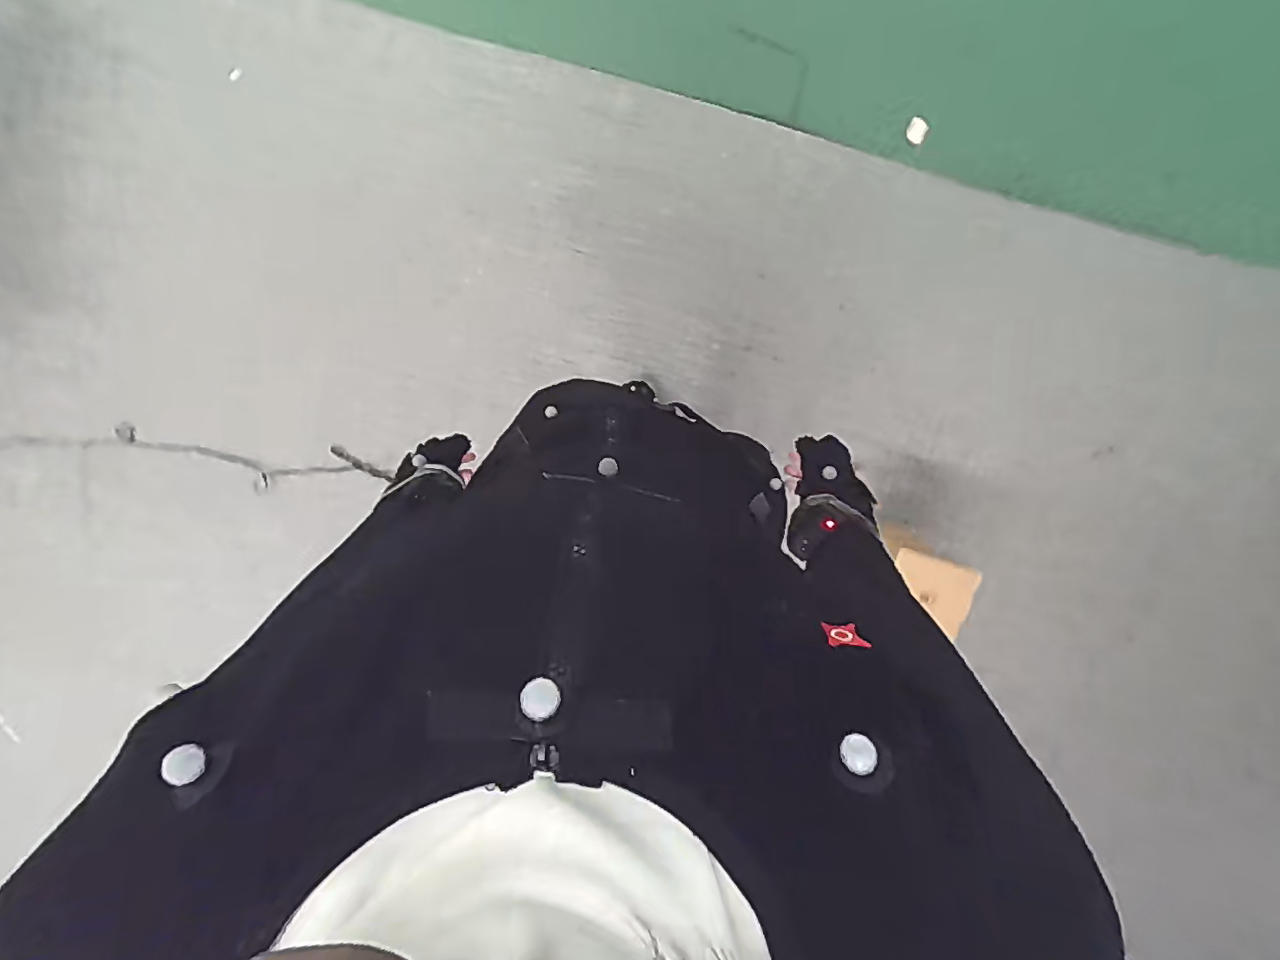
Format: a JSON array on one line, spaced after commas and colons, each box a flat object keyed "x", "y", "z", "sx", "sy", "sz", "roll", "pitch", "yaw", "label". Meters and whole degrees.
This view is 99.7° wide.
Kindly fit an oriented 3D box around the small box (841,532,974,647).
[{"x": 0.569, "y": 0.228, "z": 1.176, "sx": 0.179, "sy": 0.176, "sz": 0.168, "roll": 20, "pitch": 100, "yaw": 2, "label": "small box"}]

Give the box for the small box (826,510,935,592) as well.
[{"x": 0.580, "y": 0.196, "z": 1.335, "sx": 0.168, "sy": 0.176, "sz": 0.179, "roll": 21, "pitch": 102, "yaw": 0, "label": "small box"}]
